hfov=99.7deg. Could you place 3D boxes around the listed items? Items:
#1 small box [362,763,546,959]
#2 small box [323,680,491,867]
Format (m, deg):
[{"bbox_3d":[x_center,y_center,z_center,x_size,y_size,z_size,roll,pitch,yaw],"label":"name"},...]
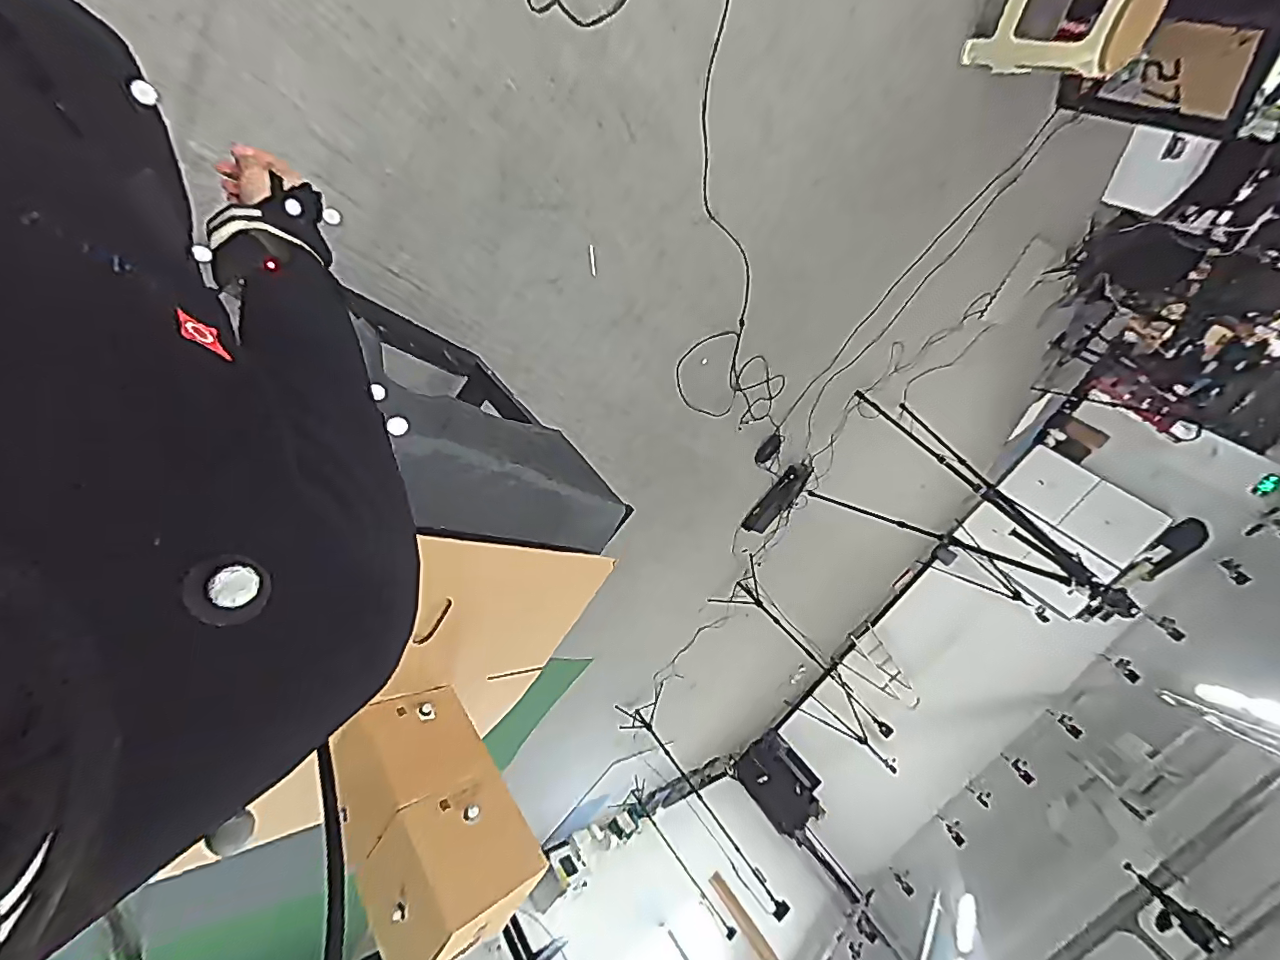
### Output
[{"bbox_3d":[-0.276,0.558,0.787,0.168,0.176,0.179,5,123,-54],"label":"small box"},{"bbox_3d":[-0.379,0.456,0.867,0.168,0.176,0.179,6,122,-54],"label":"small box"}]
